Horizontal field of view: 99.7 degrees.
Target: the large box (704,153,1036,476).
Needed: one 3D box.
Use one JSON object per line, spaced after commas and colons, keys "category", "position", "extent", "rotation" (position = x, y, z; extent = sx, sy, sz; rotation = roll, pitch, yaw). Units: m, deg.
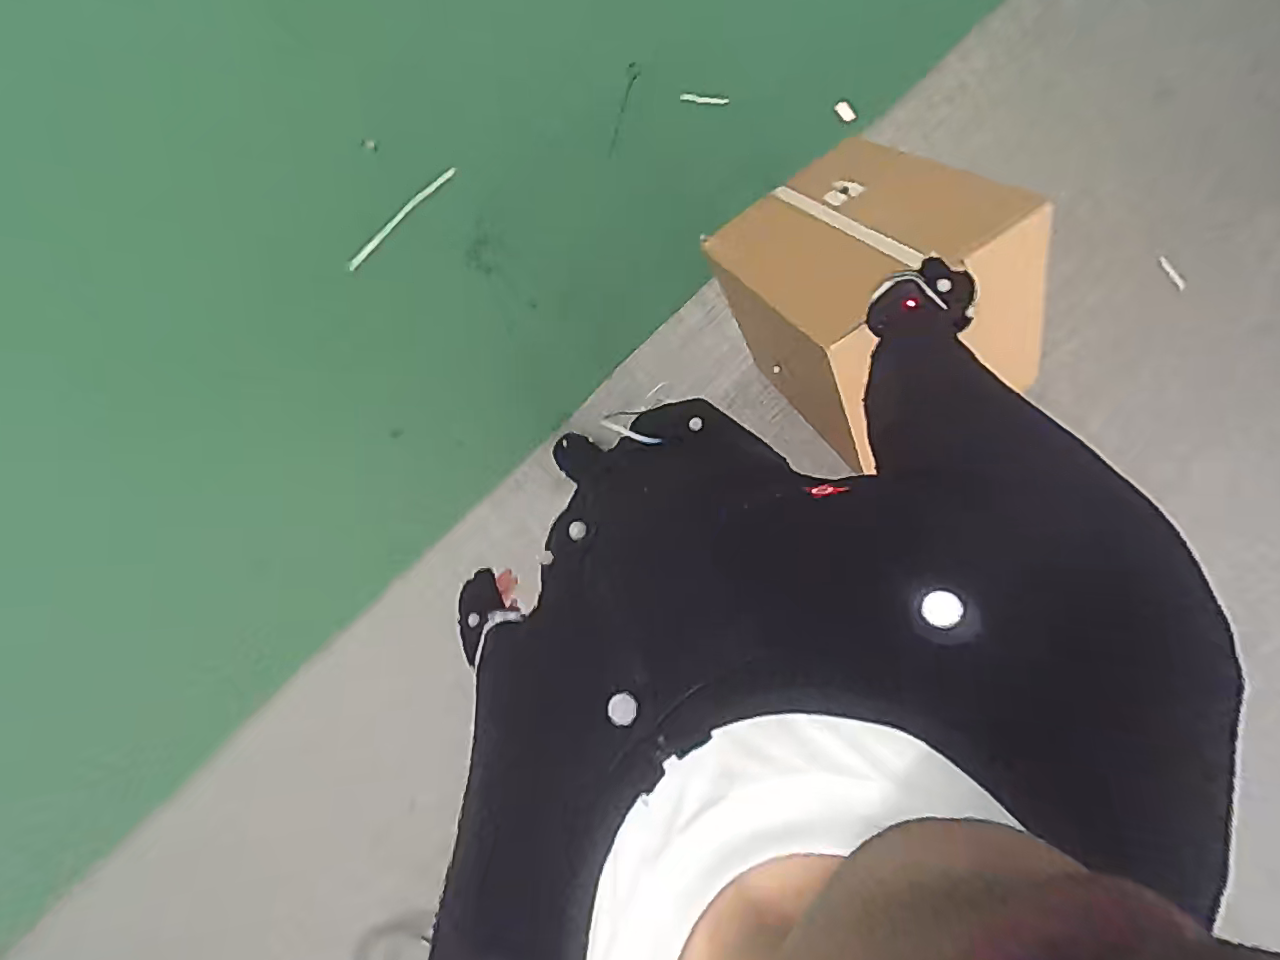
{"category": "large box", "position": [0.372, -0.284, 0.921], "extent": [0.320, 0.408, 0.320], "rotation": [-33, 133, 6]}
